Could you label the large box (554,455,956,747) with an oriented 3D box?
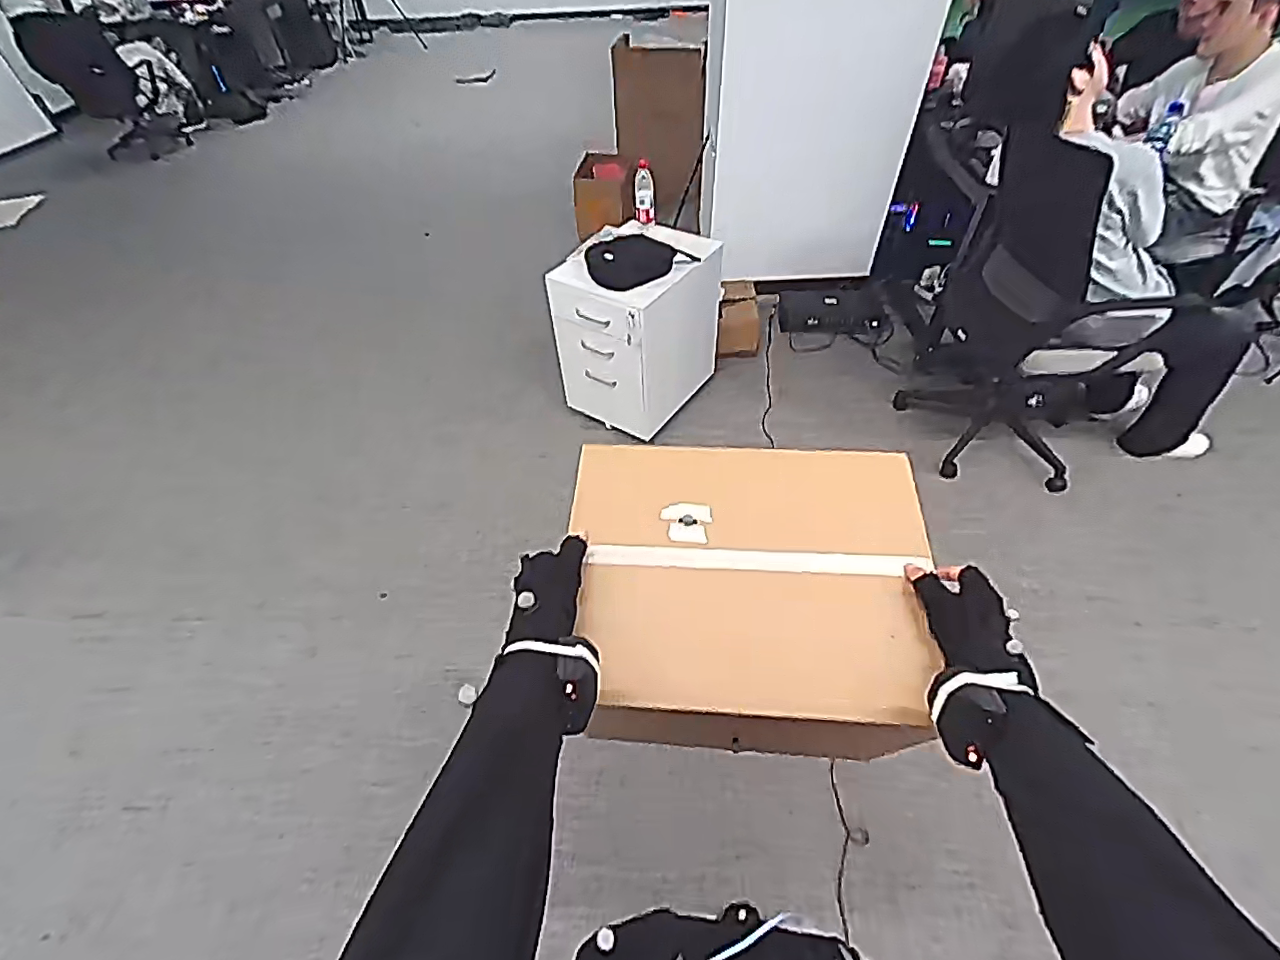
[{"bbox_3d":[0.128,0.176,0.739,0.408,0.320,0.320,1,57,5],"label":"large box"}]
